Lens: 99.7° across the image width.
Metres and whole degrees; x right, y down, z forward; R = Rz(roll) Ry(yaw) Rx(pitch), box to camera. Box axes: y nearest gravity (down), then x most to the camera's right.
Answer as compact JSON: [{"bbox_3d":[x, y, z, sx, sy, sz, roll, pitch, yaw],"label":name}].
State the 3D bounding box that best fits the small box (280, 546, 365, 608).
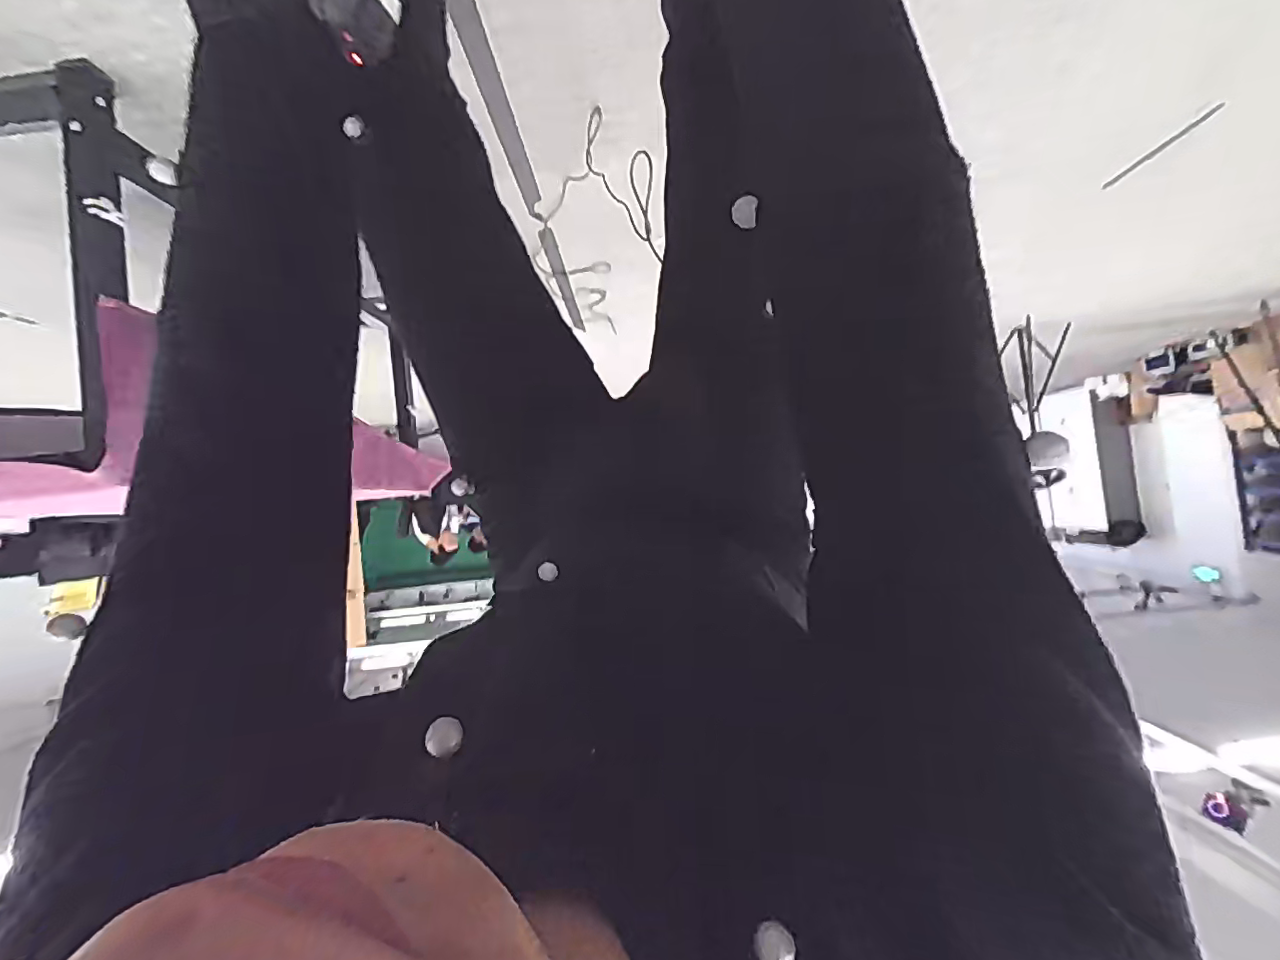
[{"bbox_3d":[-1.016,0.305,1.730,0.179,0.176,0.168,-7,178,13],"label":"small box"}]
